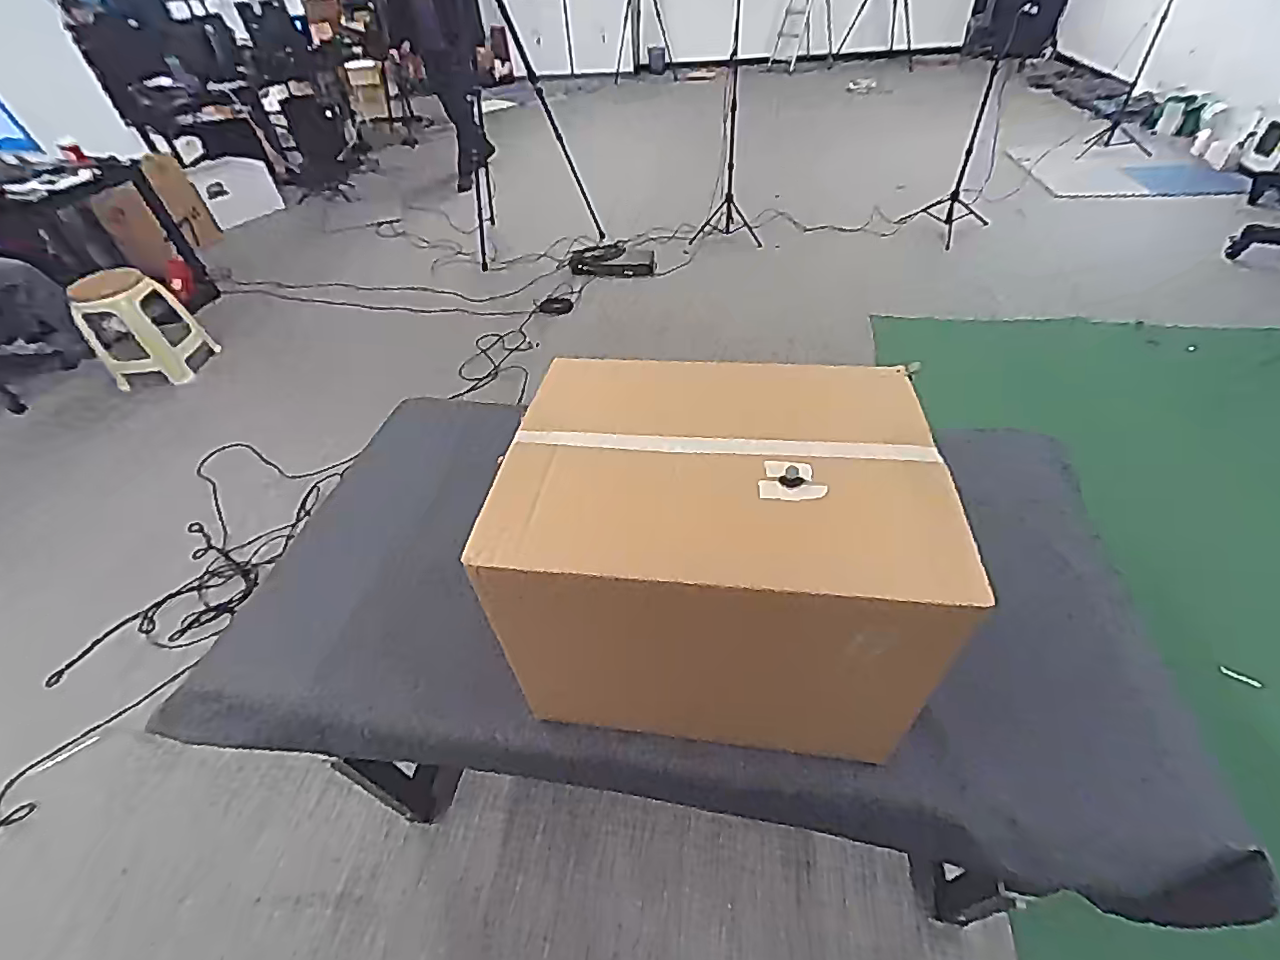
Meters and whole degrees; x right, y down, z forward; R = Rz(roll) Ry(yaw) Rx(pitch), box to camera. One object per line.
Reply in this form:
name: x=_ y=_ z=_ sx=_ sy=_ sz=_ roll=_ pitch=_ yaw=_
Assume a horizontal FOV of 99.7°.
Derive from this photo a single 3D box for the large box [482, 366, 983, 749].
large box: x=0.085 y=0.083 z=0.633 sx=0.408 sy=0.320 sz=0.320 roll=4 pitch=45 yaw=7
